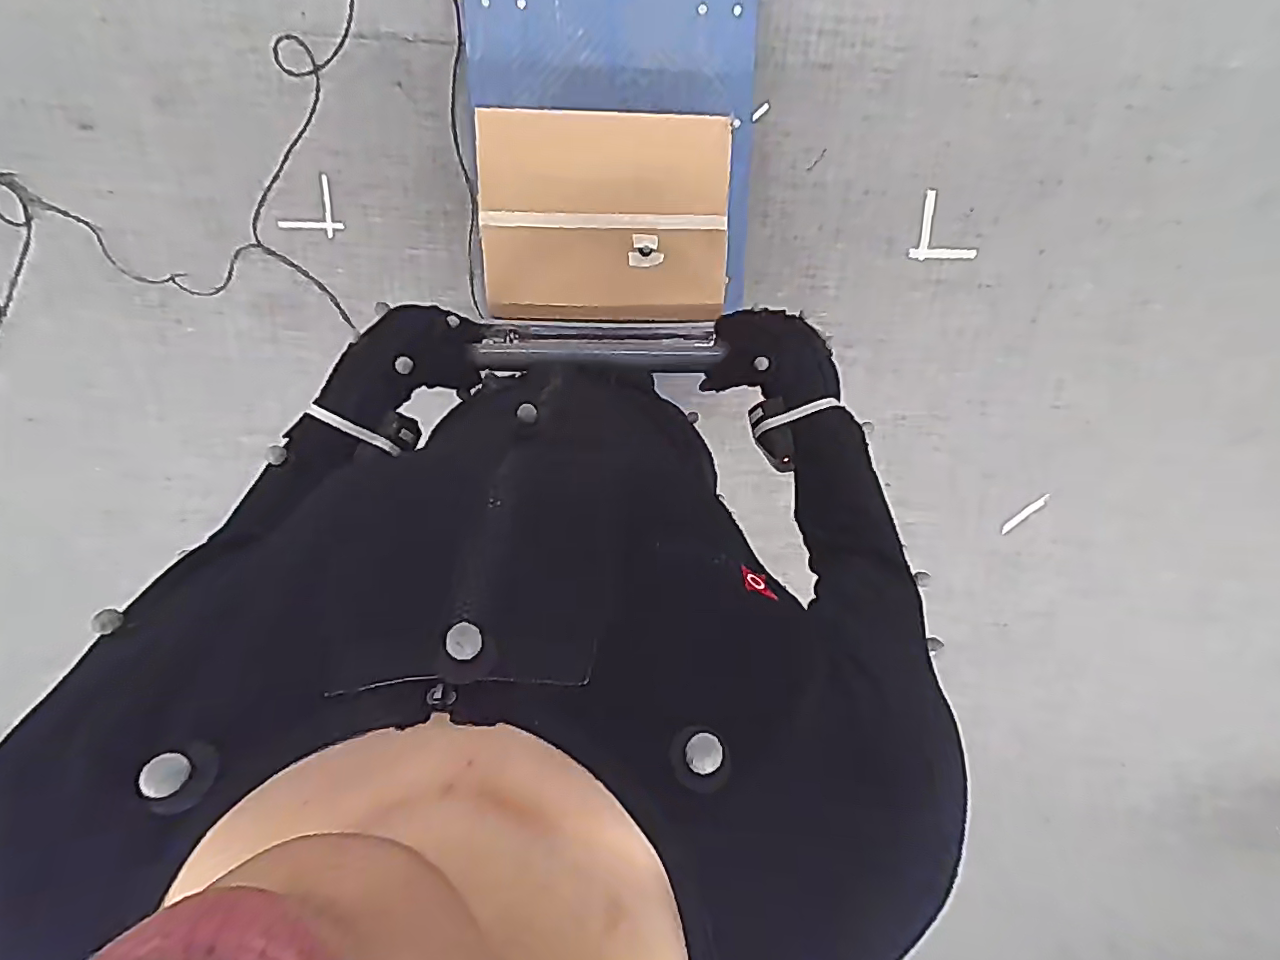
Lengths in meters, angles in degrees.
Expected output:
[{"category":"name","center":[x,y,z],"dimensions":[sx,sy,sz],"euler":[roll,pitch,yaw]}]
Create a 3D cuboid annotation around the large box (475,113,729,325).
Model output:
[{"category":"large box","center":[-0.066,-0.460,1.025],"dimensions":[0.408,0.320,0.320],"euler":[-1,106,-3]}]
